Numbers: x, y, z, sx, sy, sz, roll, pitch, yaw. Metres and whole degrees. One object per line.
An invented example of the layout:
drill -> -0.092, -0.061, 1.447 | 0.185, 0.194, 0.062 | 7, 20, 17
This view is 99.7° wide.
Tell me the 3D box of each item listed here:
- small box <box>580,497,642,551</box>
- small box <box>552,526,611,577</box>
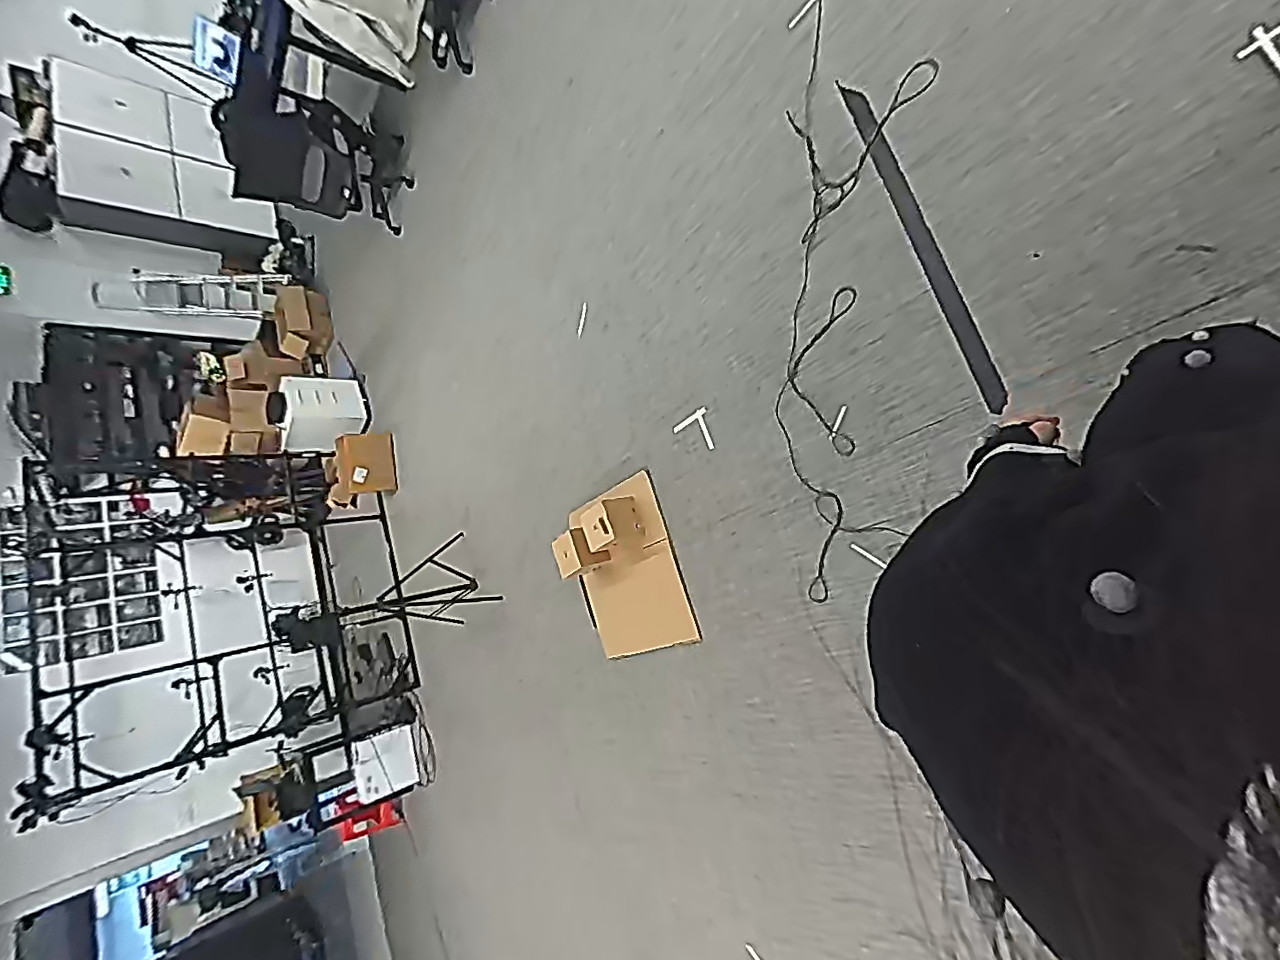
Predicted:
small box -> -0.113, 0.177, 2.227 | 0.179, 0.176, 0.168 | -35, 69, 43
small box -> -0.257, 0.310, 2.398 | 0.168, 0.176, 0.179 | -38, 68, 43
